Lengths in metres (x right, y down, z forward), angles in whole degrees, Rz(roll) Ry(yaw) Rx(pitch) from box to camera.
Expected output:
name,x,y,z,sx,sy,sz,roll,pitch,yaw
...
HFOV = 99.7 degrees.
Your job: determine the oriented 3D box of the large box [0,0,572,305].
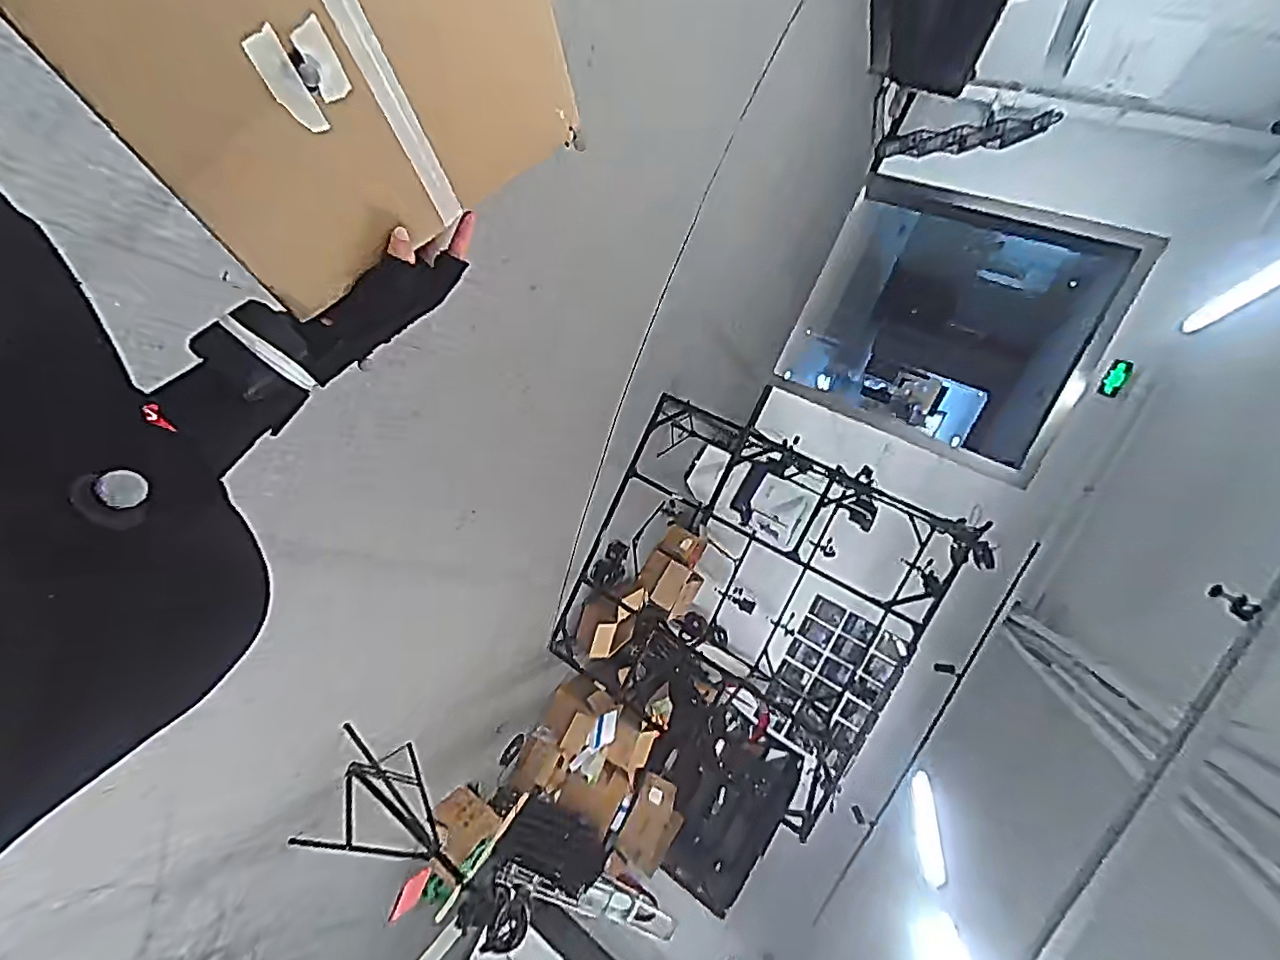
name,x,y,z,sx,sy,sz,roll,pitch,yaw
large box,-0.308,-0.424,0.385,0.320,0.320,0.408,-41,152,-13
